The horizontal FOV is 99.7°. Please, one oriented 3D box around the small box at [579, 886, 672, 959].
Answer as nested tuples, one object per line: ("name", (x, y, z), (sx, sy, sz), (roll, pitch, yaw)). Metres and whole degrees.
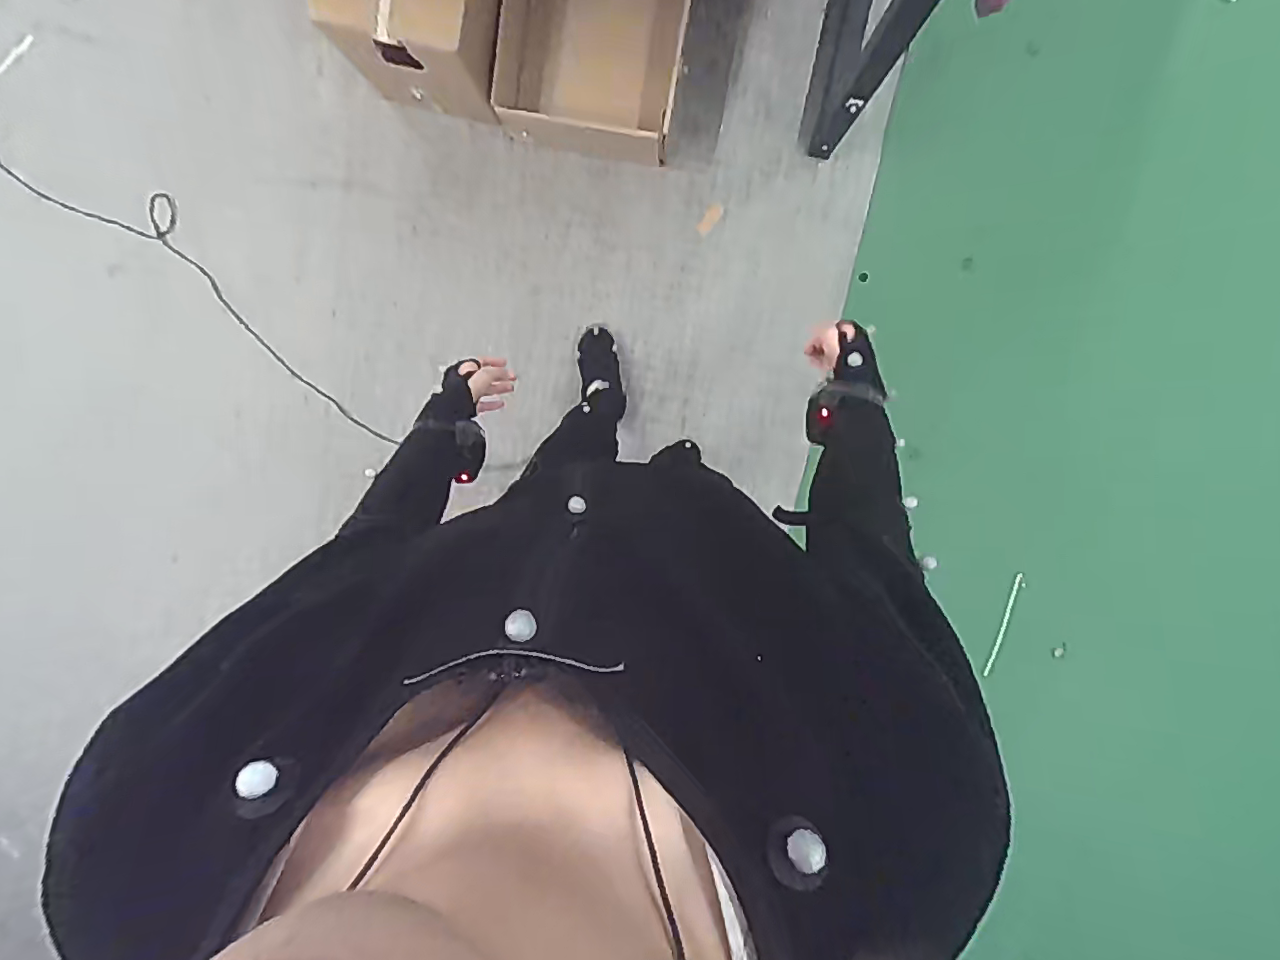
("small box", (-0.028, 1.140, 1.302), (0.168, 0.176, 0.179), (-26, 97, 6))
